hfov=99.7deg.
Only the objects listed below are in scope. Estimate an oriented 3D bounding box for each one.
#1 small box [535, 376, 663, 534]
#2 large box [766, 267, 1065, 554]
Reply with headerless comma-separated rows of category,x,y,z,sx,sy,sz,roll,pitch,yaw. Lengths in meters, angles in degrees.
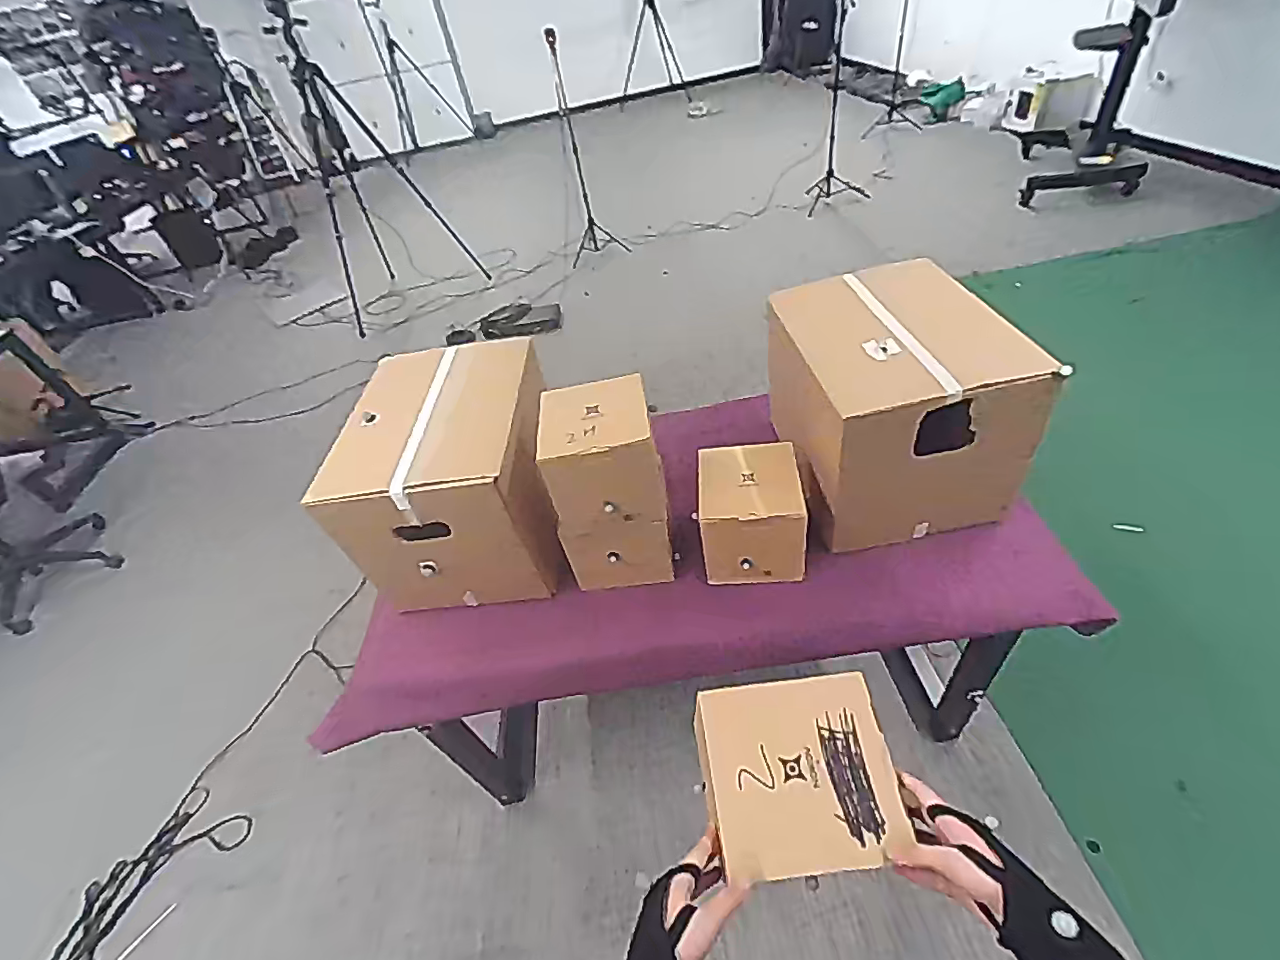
small box,-0.060,-0.039,0.868,0.168,0.176,0.179,-11,43,3
large box,0.439,-0.134,0.991,0.320,0.320,0.408,-13,43,4
